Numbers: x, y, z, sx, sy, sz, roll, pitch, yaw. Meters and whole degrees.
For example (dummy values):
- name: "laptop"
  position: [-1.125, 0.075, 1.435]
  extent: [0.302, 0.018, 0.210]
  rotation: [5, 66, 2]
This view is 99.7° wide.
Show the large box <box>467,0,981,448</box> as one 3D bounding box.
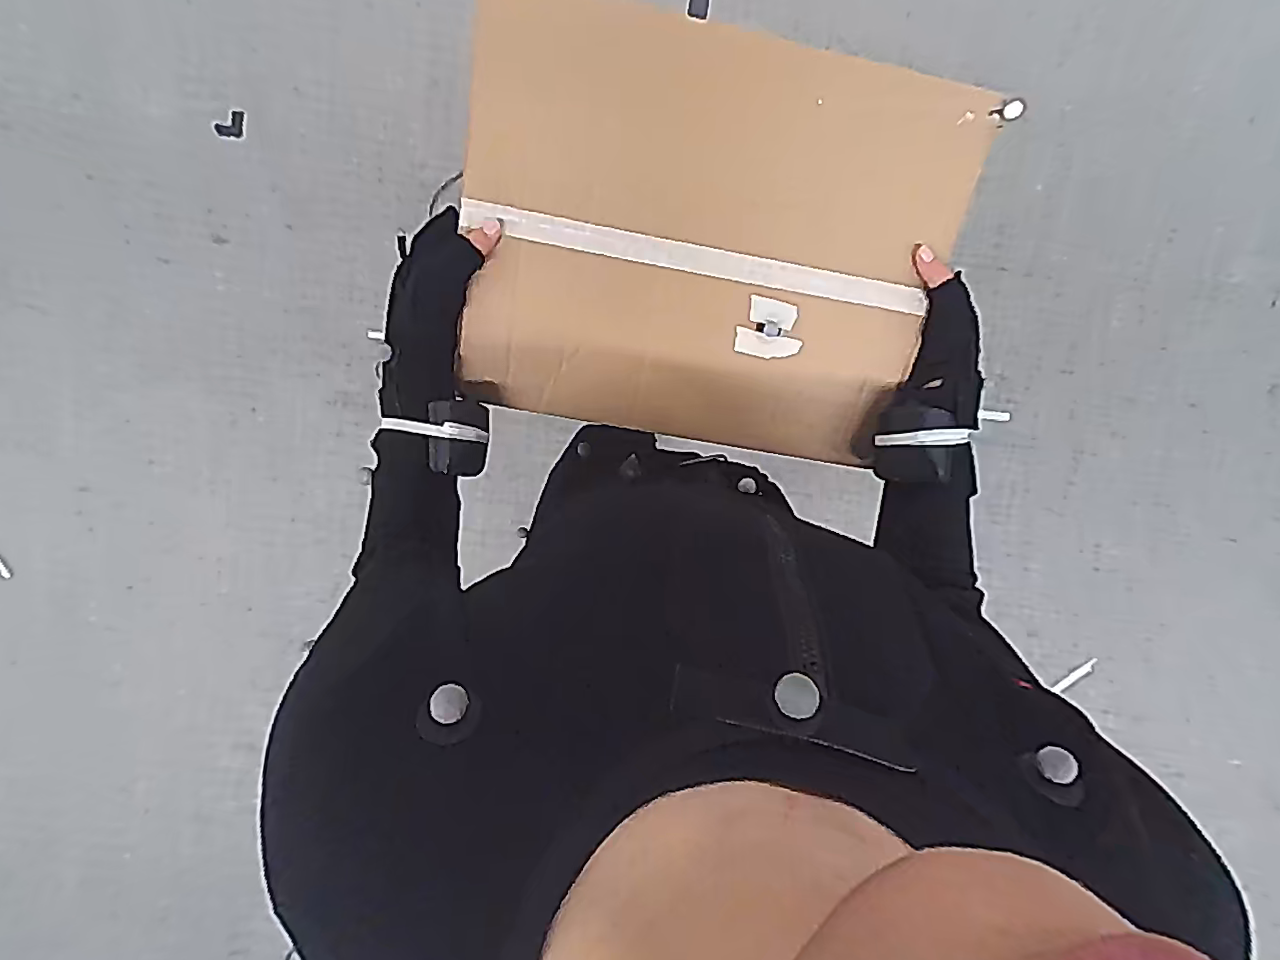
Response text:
- name: "large box"
  position: [0.050, -0.255, 0.608]
  extent: [0.408, 0.320, 0.320]
  rotation: [9, 113, -6]
